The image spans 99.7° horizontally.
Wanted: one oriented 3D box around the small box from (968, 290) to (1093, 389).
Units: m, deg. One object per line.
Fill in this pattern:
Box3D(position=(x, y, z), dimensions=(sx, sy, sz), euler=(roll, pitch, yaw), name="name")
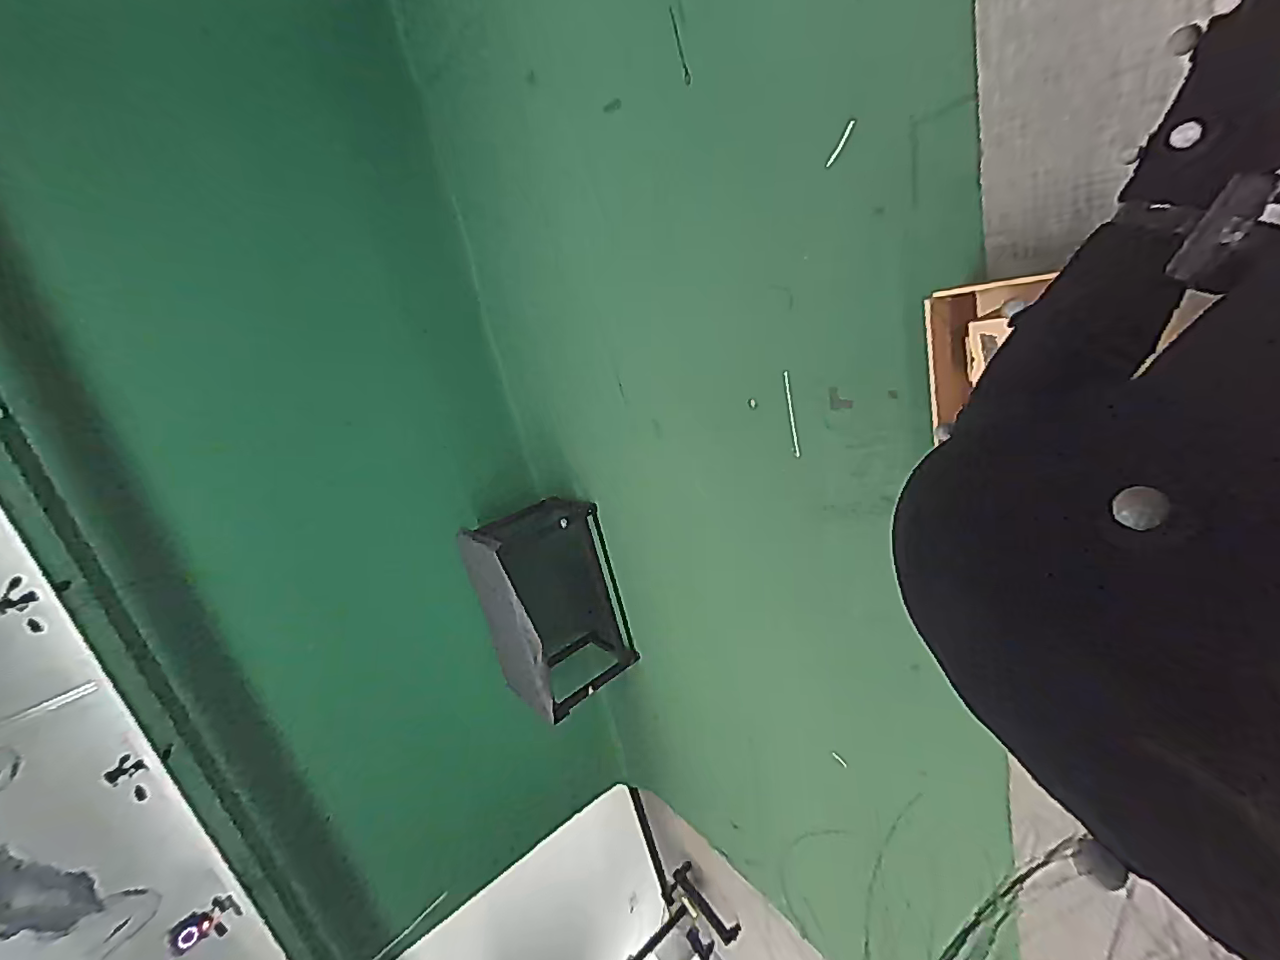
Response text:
Box3D(position=(0.845, -0.301, 1.170), dimensions=(0.179, 0.176, 0.168), euler=(7, 118, 52), name="small box")
